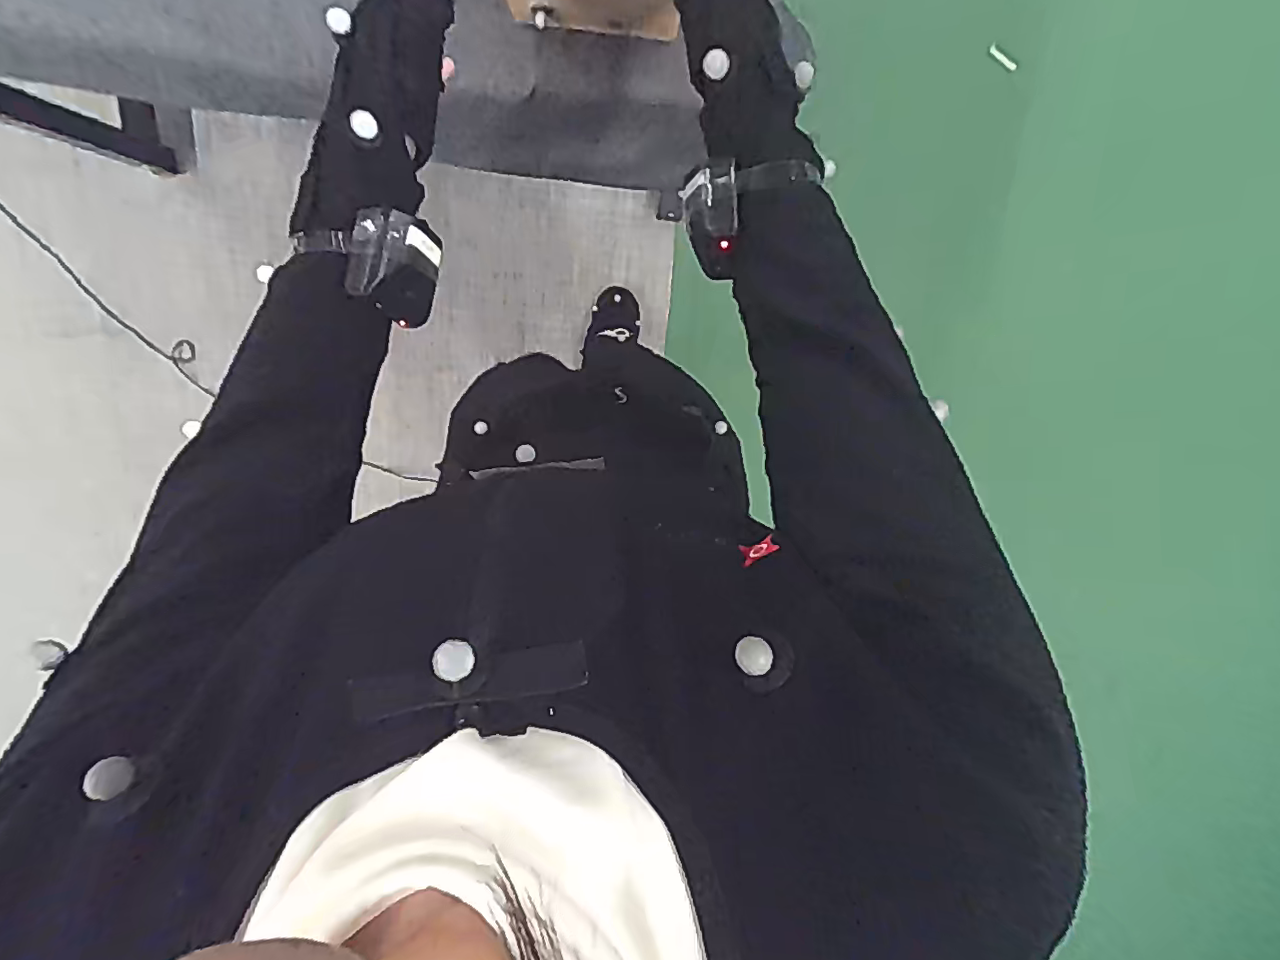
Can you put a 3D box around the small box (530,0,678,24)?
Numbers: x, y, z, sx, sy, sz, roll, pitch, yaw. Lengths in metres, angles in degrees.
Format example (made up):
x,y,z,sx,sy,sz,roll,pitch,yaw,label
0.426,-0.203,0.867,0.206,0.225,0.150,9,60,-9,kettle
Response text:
x,y,z,sx,sy,sz,roll,pitch,yaw,label
-0.037,-0.521,0.441,0.168,0.176,0.179,4,104,-3,small box
